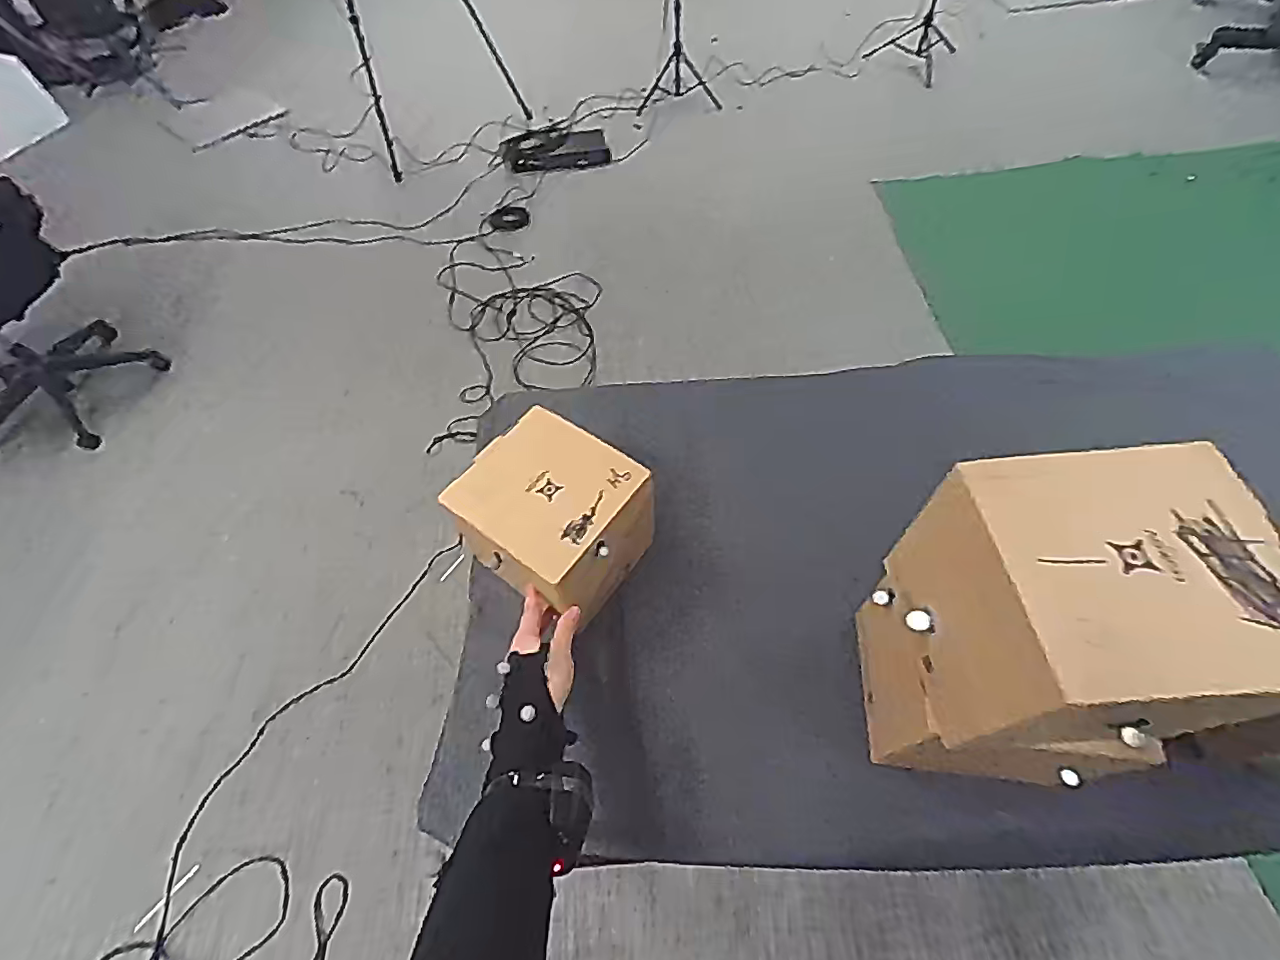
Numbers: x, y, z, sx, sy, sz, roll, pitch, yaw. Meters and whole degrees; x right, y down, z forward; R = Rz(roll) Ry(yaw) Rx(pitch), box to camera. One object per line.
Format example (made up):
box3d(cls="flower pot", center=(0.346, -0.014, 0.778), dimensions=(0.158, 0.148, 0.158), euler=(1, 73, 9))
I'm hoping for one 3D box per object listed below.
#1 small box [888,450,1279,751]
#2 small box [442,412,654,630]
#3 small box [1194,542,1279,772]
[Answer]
box3d(cls="small box", center=(0.315, 0.097, 0.400), dimensions=(0.179, 0.176, 0.168), euler=(-5, 56, 2))
box3d(cls="small box", center=(-0.099, 0.055, 0.660), dimensions=(0.179, 0.176, 0.168), euler=(31, 64, 22))
box3d(cls="small box", center=(0.645, 0.170, 0.520), dimensions=(0.168, 0.176, 0.179), euler=(-5, 56, 3))
